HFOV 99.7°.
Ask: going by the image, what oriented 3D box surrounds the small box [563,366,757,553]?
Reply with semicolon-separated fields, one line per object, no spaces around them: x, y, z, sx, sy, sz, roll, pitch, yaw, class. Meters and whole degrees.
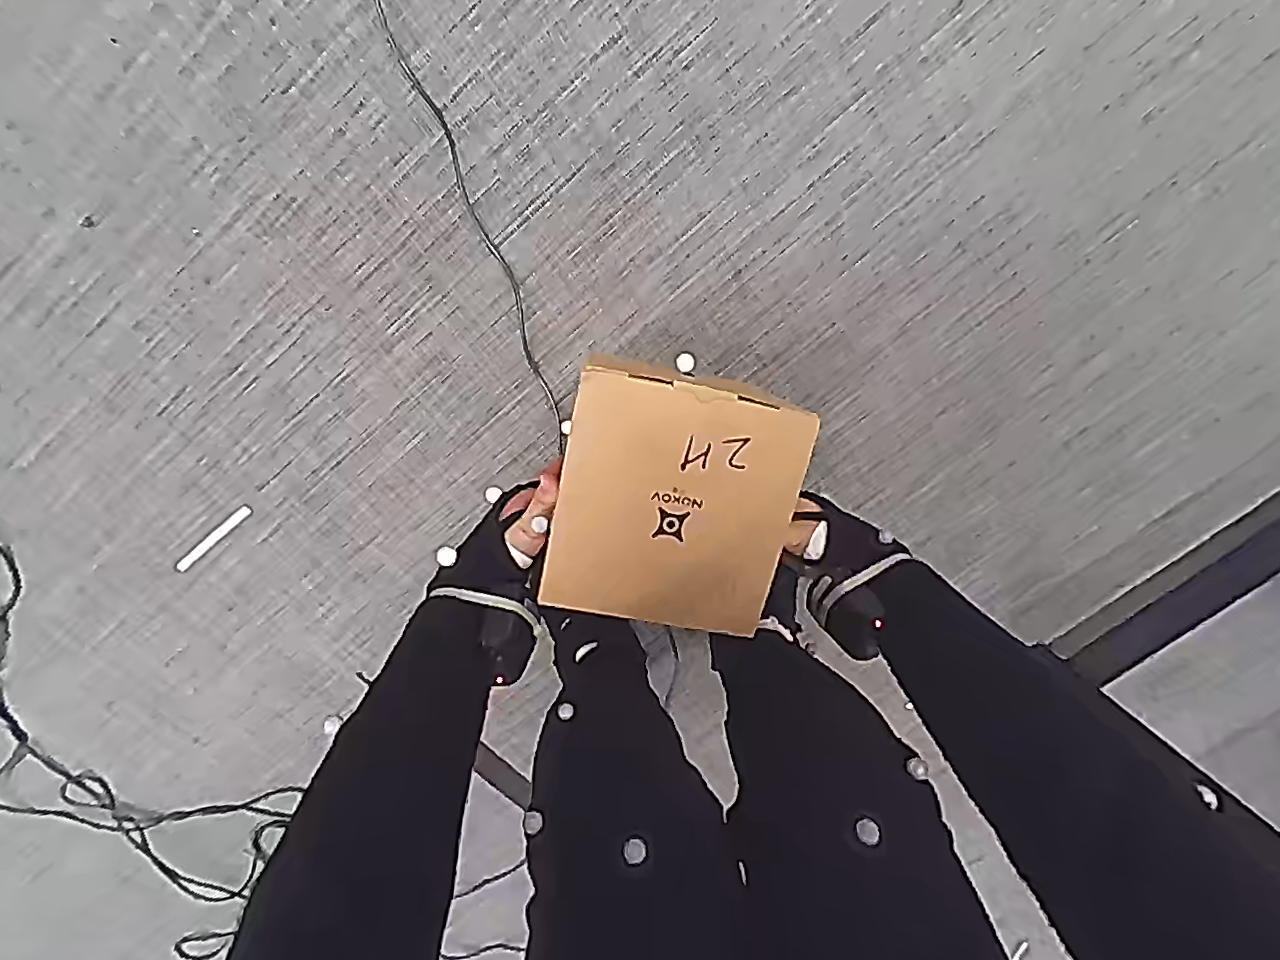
0.012;-0.033;0.619;0.179;0.176;0.168;8;106;-6;small box
